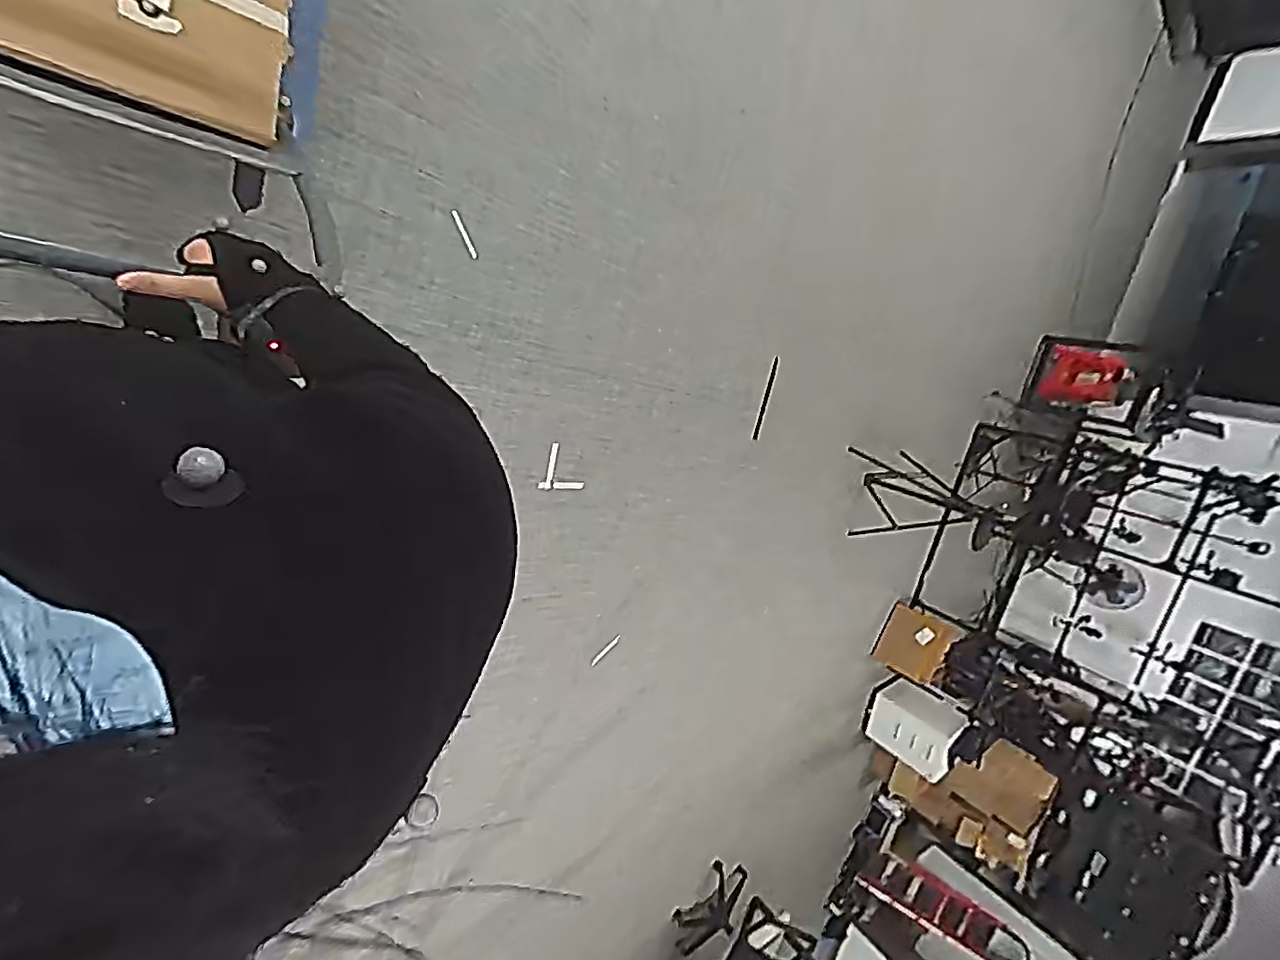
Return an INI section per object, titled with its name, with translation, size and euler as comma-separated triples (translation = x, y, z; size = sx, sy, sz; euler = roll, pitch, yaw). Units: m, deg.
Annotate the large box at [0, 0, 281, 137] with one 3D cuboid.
[large box]
translation = -0.721, -0.713, 0.696
size = 0.408, 0.320, 0.320
euler = 0, 126, -42
